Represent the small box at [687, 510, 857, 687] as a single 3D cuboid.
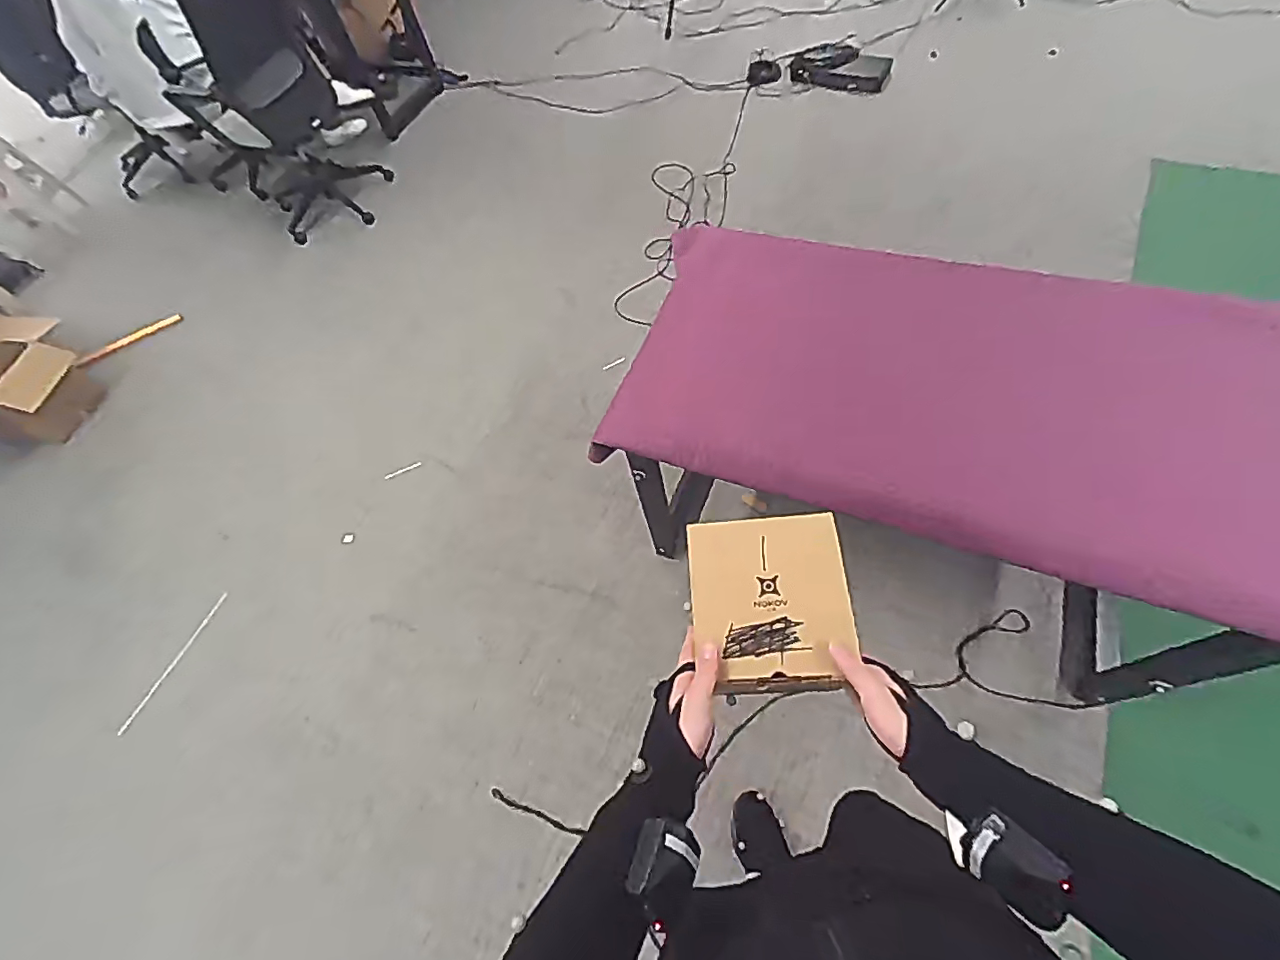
[{"bbox_3d":[0.149,0.152,0.651,0.168,0.176,0.179,-5,63,8],"label":"small box"}]
